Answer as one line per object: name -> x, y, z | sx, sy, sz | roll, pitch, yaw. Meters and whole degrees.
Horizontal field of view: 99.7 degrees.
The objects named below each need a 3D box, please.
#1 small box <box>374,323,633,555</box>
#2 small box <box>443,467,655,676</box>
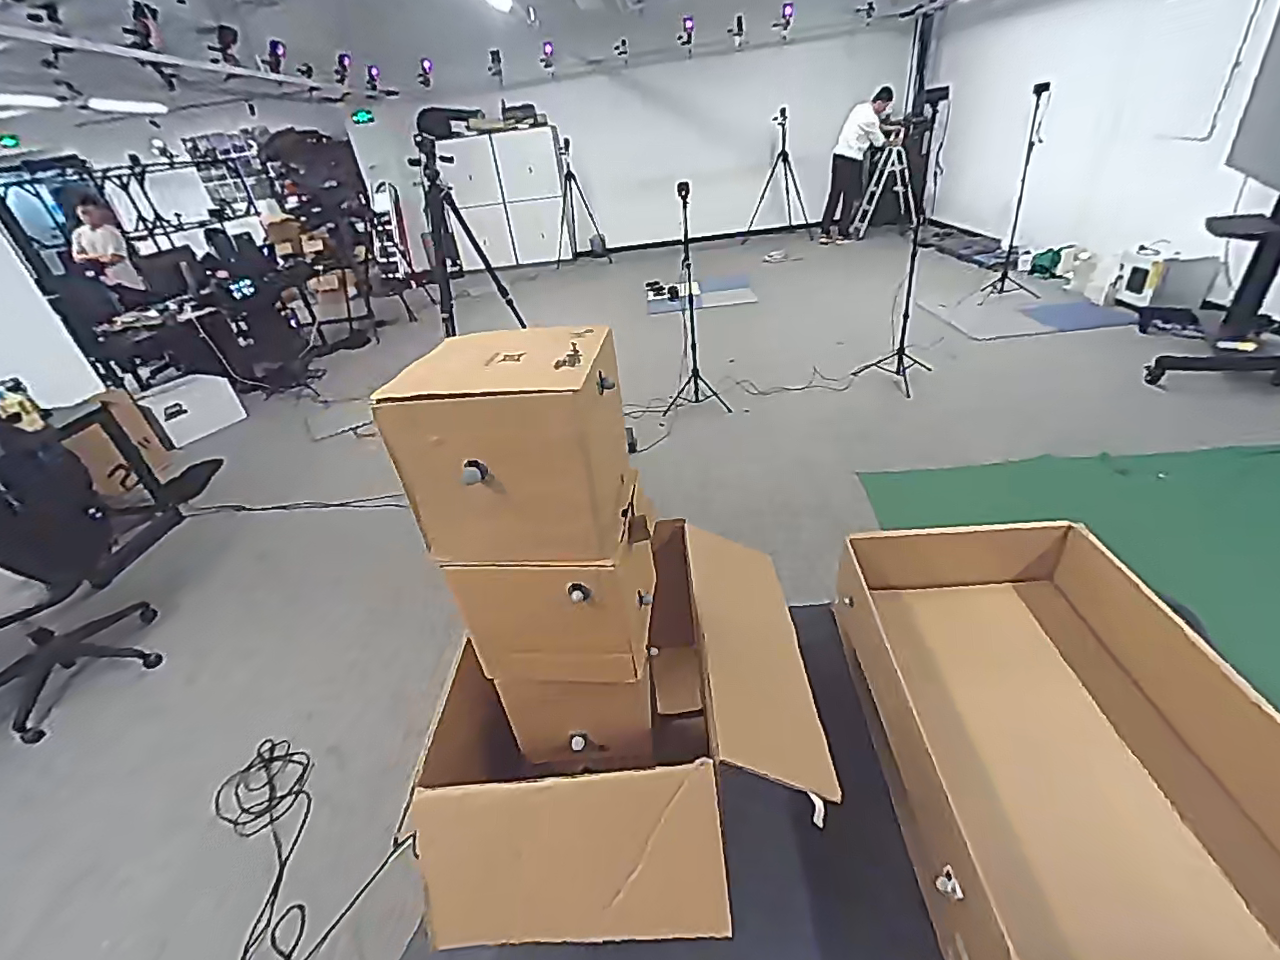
small box -> -0.110, -0.039, 0.524 | 0.179, 0.176, 0.168 | -2, 33, 8
small box -> -0.085, 0.100, 0.608 | 0.179, 0.176, 0.168 | -1, 34, 9
